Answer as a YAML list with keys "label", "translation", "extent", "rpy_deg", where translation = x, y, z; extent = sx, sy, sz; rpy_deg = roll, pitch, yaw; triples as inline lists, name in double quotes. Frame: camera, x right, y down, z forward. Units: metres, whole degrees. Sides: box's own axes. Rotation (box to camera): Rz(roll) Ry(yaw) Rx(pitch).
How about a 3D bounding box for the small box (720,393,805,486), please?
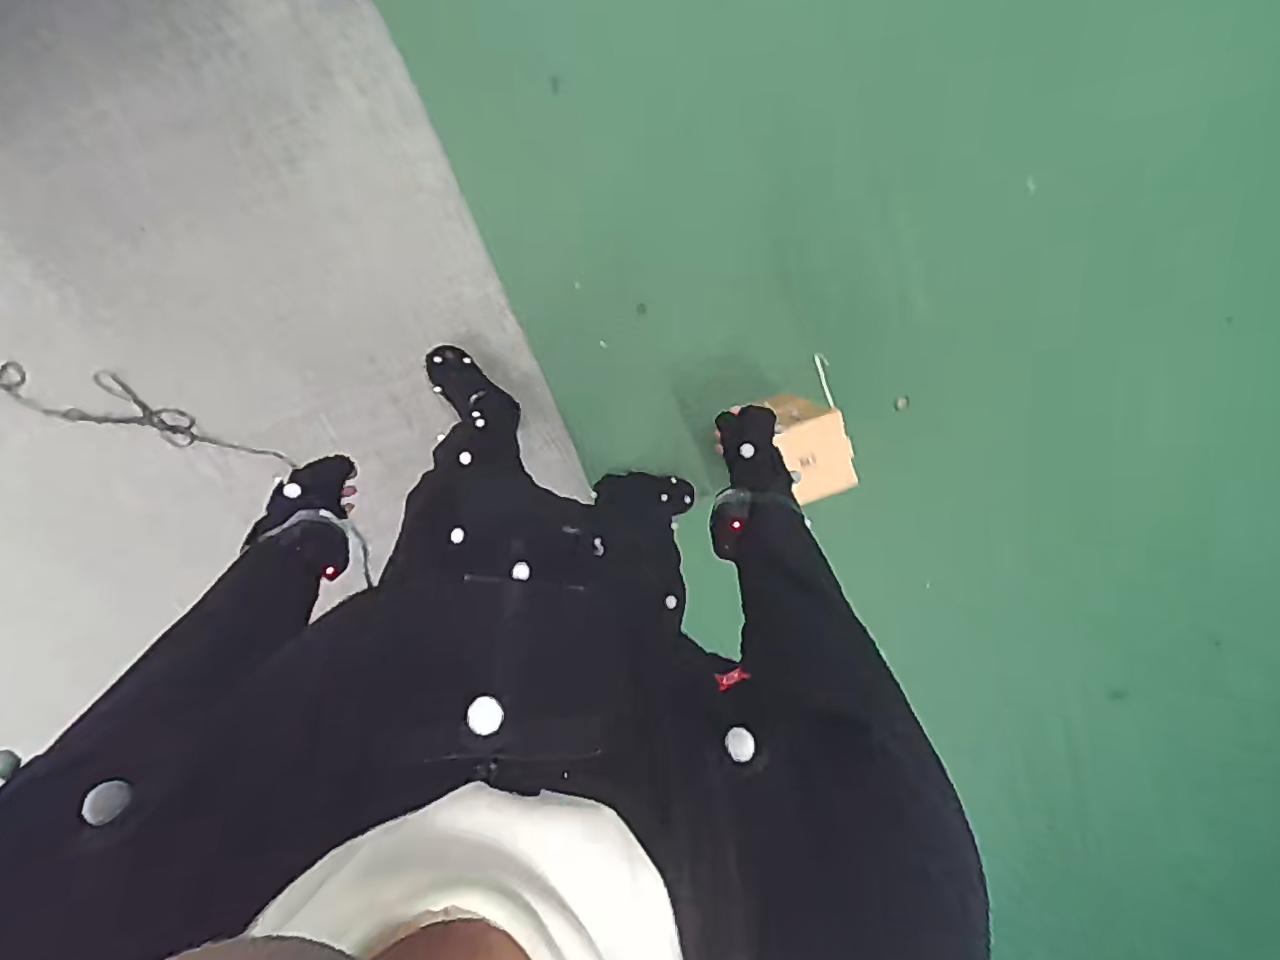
- label: "small box"
  translation: [0.316, -0.107, 1.341]
  extent: [0.179, 0.176, 0.168]
  rpy_deg: [-19, 105, 3]

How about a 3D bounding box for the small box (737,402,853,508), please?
- label: "small box"
  translation: [0.333, -0.062, 1.184]
  extent: [0.179, 0.176, 0.168]
  rpy_deg: [-19, 106, 0]
